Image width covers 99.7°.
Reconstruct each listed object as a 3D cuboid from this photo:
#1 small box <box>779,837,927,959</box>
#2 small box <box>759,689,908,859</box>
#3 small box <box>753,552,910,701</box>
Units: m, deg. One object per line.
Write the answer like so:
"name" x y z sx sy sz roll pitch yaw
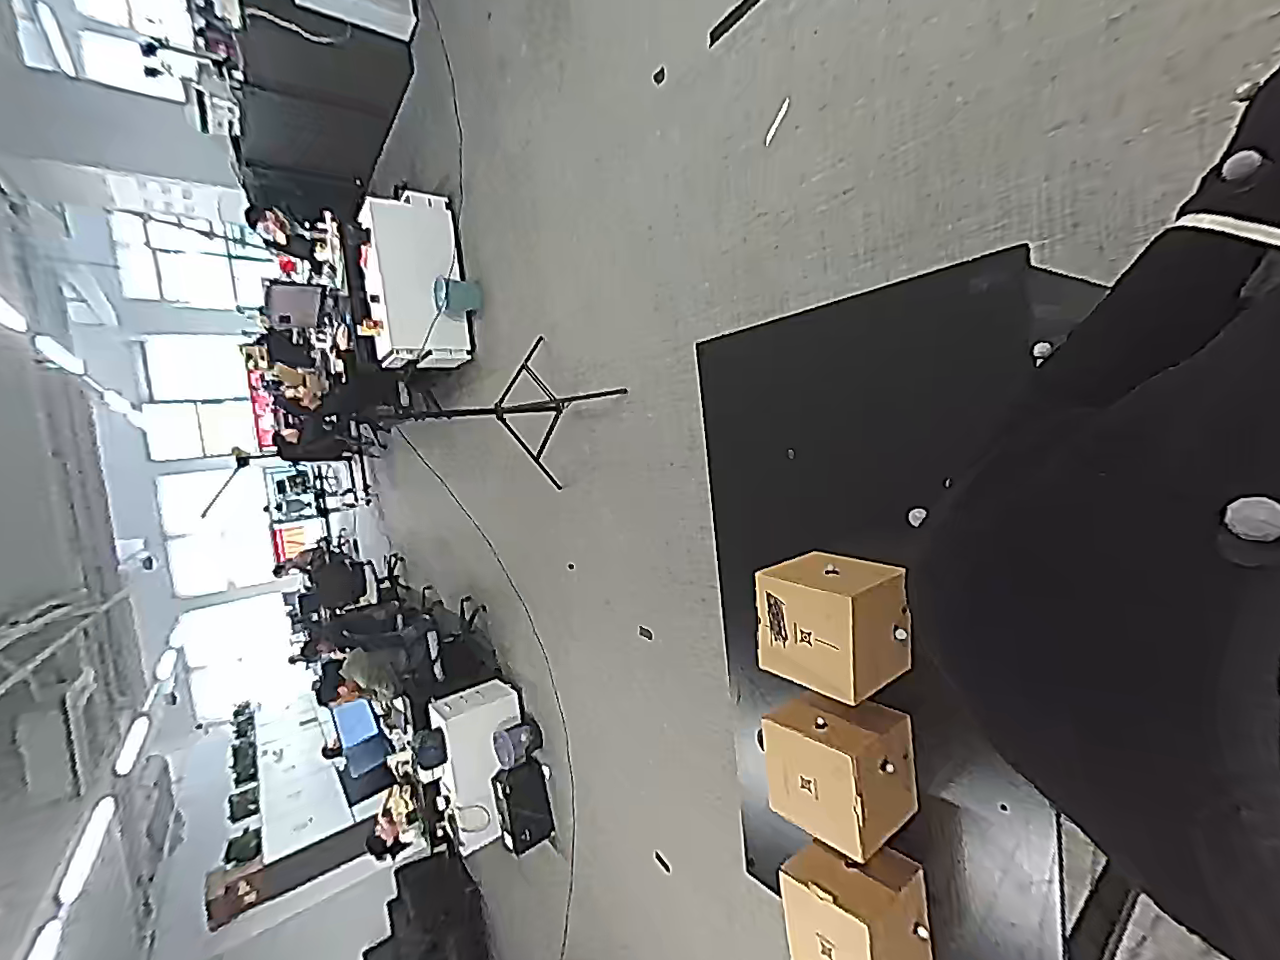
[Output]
"small box" 0.358 0.726 0.910 0.168 0.176 0.179 -4 93 54
"small box" 0.325 0.467 0.899 0.179 0.176 0.168 -2 95 54
"small box" 0.305 0.220 0.869 0.179 0.176 0.168 6 102 52
